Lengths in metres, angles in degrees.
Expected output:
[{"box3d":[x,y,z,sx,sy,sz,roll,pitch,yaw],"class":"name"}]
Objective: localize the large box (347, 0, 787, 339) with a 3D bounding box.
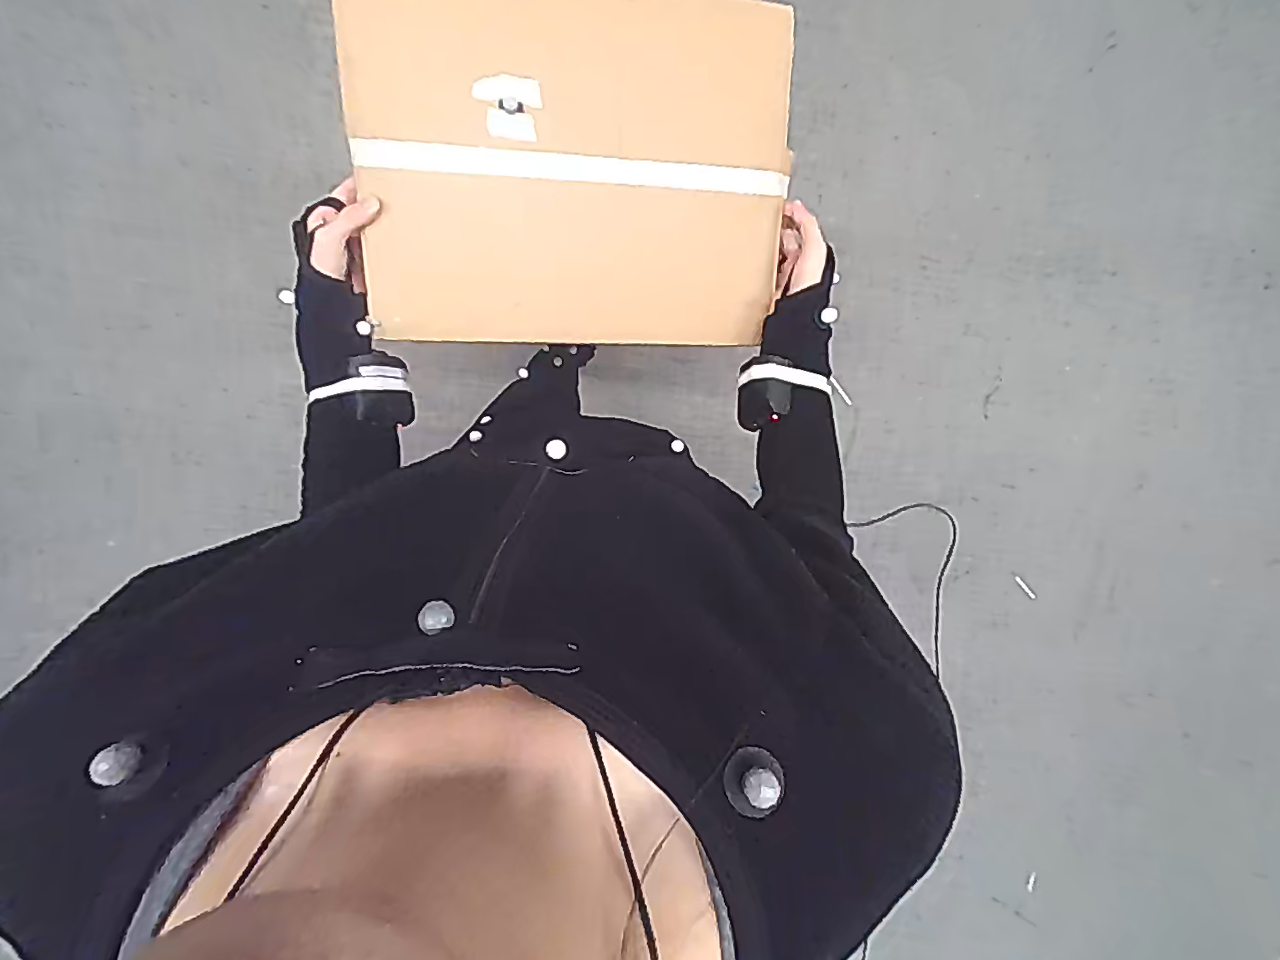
[{"box3d":[-0.081,-0.342,0.665,0.408,0.320,0.320,-2,106,-11],"class":"large box"}]
